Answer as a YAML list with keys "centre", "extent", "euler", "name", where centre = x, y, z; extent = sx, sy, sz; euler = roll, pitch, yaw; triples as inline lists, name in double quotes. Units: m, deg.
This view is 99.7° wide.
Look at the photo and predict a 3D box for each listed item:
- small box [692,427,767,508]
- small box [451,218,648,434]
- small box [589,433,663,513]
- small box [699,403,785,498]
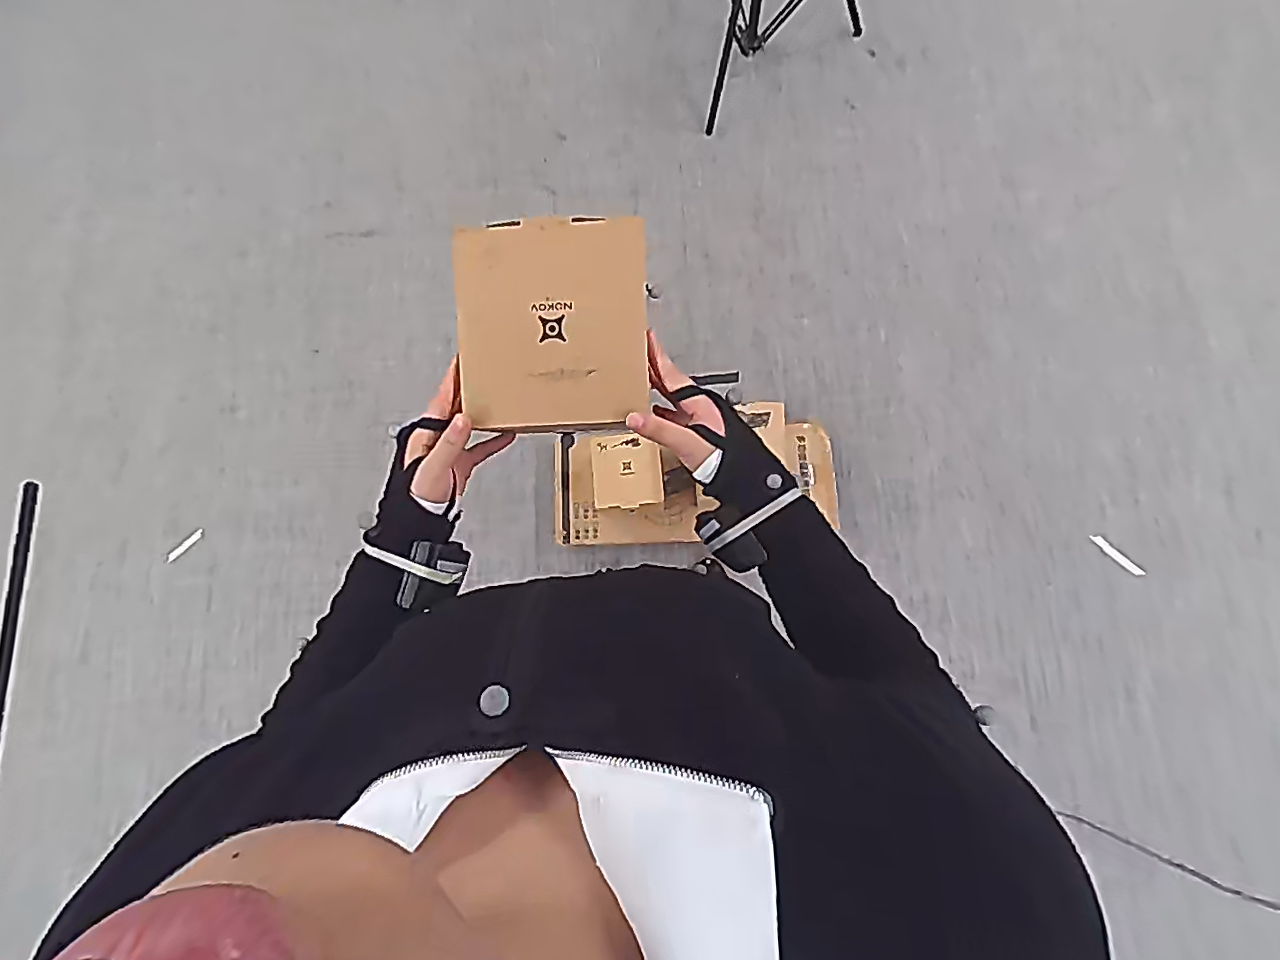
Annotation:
- centre: [0.217, -0.030, 1.345]
  extent: [0.168, 0.176, 0.179]
  euler: [-3, 80, 3]
  name: "small box"
- centre: [-0.077, -0.138, 0.544]
  extent: [0.168, 0.176, 0.179]
  euler: [-2, 94, 2]
  name: "small box"
- centre: [-0.030, -0.010, 1.356]
  extent: [0.168, 0.176, 0.179]
  euler: [-5, 81, 3]
  name: "small box"
- centre: [0.216, -0.060, 1.184]
  extent: [0.168, 0.176, 0.179]
  euler: [0, 81, 4]
  name: "small box"
